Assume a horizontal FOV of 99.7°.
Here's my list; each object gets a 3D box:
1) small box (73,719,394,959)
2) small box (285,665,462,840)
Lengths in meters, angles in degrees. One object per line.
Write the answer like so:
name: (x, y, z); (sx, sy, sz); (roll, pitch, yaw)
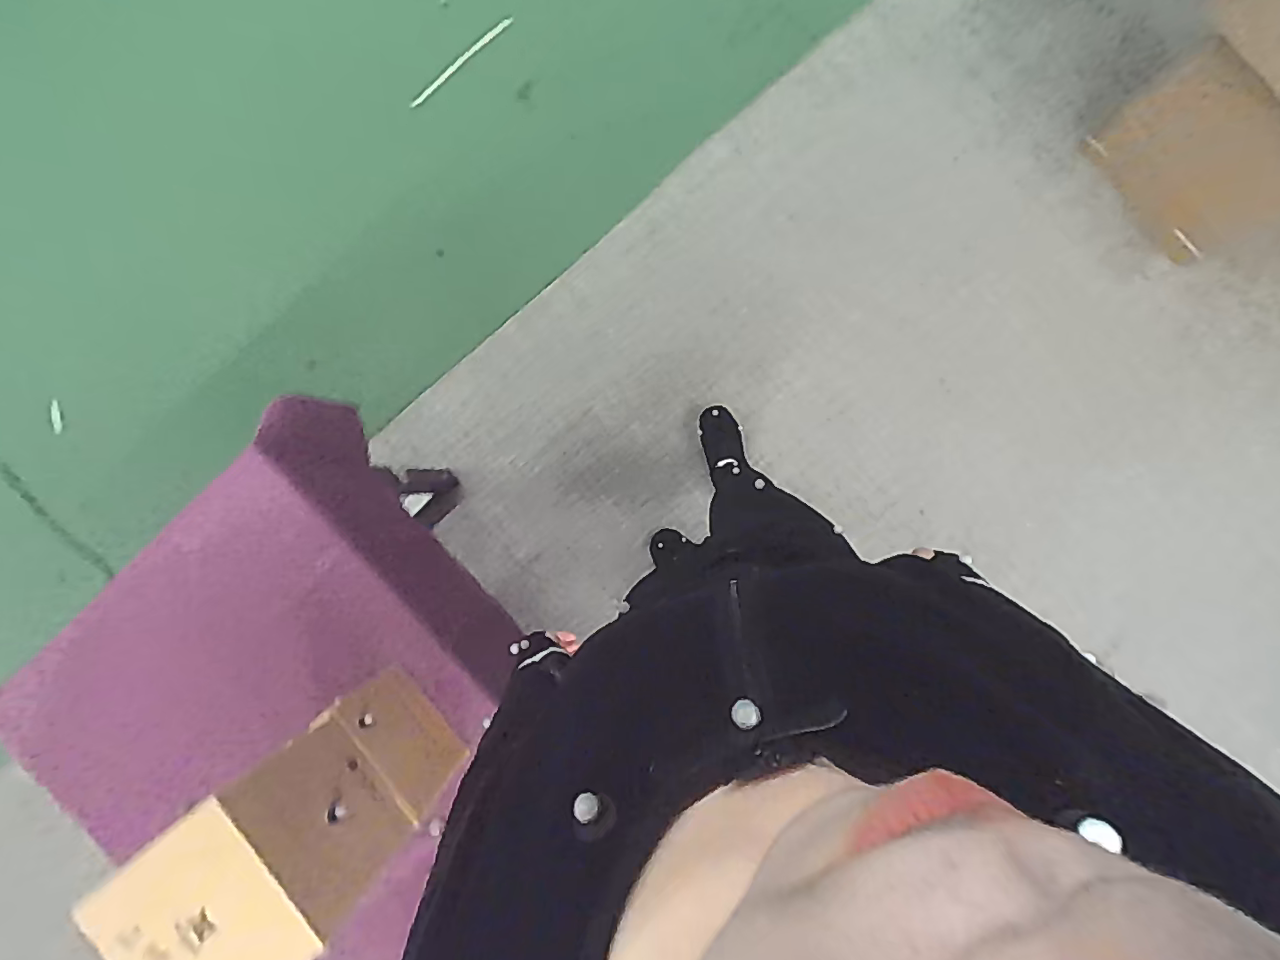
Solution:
small box: (-0.388, 0.386, 0.557); (0.179, 0.176, 0.168); (-39, 87, 3)
small box: (-0.373, 0.382, 0.721); (0.168, 0.176, 0.179); (-41, 87, 3)
